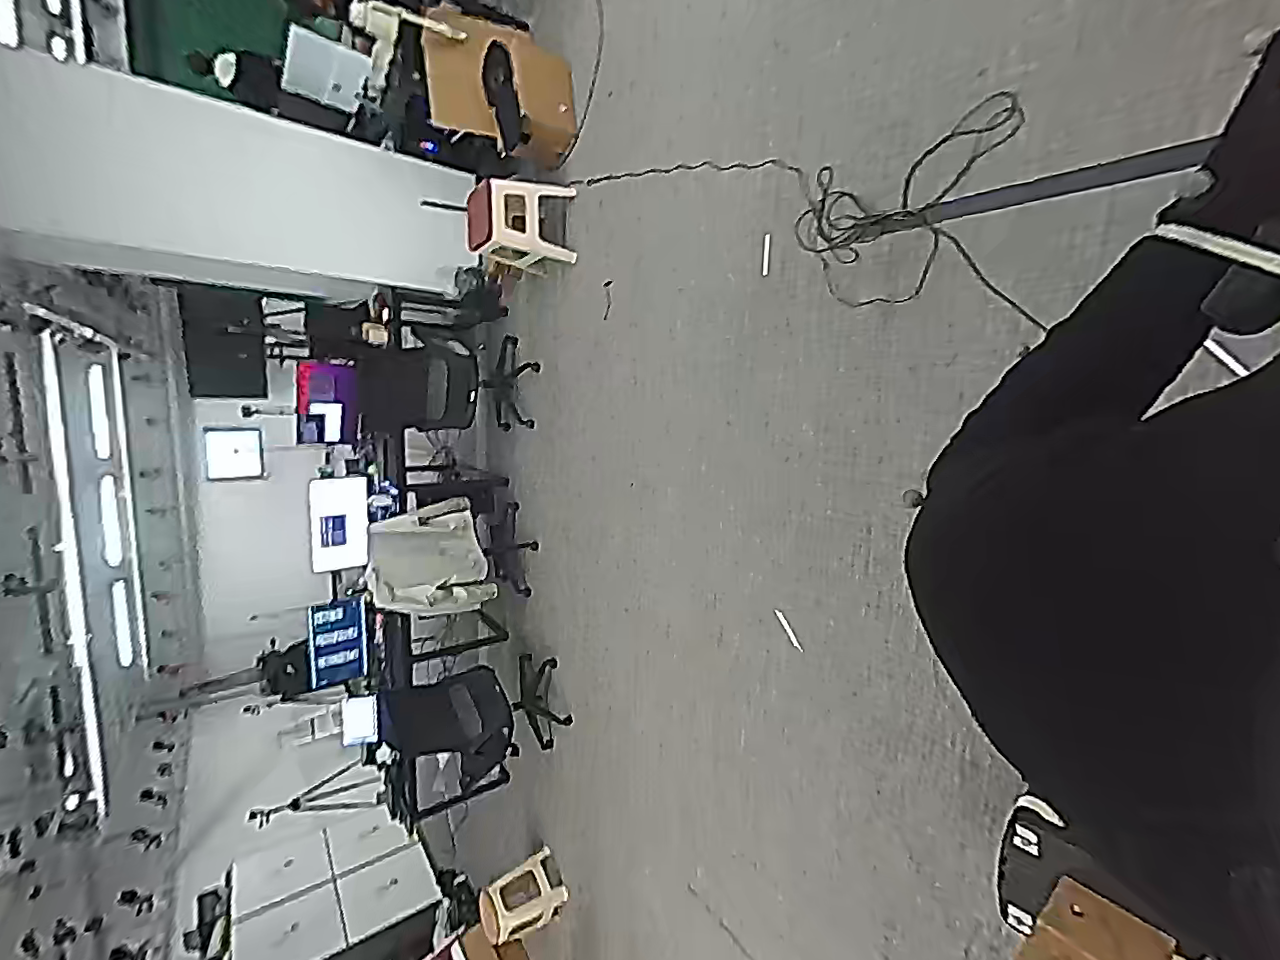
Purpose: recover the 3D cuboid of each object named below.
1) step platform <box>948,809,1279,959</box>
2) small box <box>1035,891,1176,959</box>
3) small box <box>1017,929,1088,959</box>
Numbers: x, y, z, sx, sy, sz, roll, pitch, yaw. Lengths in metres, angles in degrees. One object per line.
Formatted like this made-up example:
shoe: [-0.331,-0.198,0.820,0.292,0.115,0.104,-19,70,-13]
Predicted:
step platform: [0.923,0.890,0.914,0.684,0.204,0.286,10,102,53]
small box: [0.883,0.922,1.034,0.179,0.176,0.168,11,104,53]
small box: [0.750,0.953,0.943,0.179,0.176,0.168,16,107,51]
